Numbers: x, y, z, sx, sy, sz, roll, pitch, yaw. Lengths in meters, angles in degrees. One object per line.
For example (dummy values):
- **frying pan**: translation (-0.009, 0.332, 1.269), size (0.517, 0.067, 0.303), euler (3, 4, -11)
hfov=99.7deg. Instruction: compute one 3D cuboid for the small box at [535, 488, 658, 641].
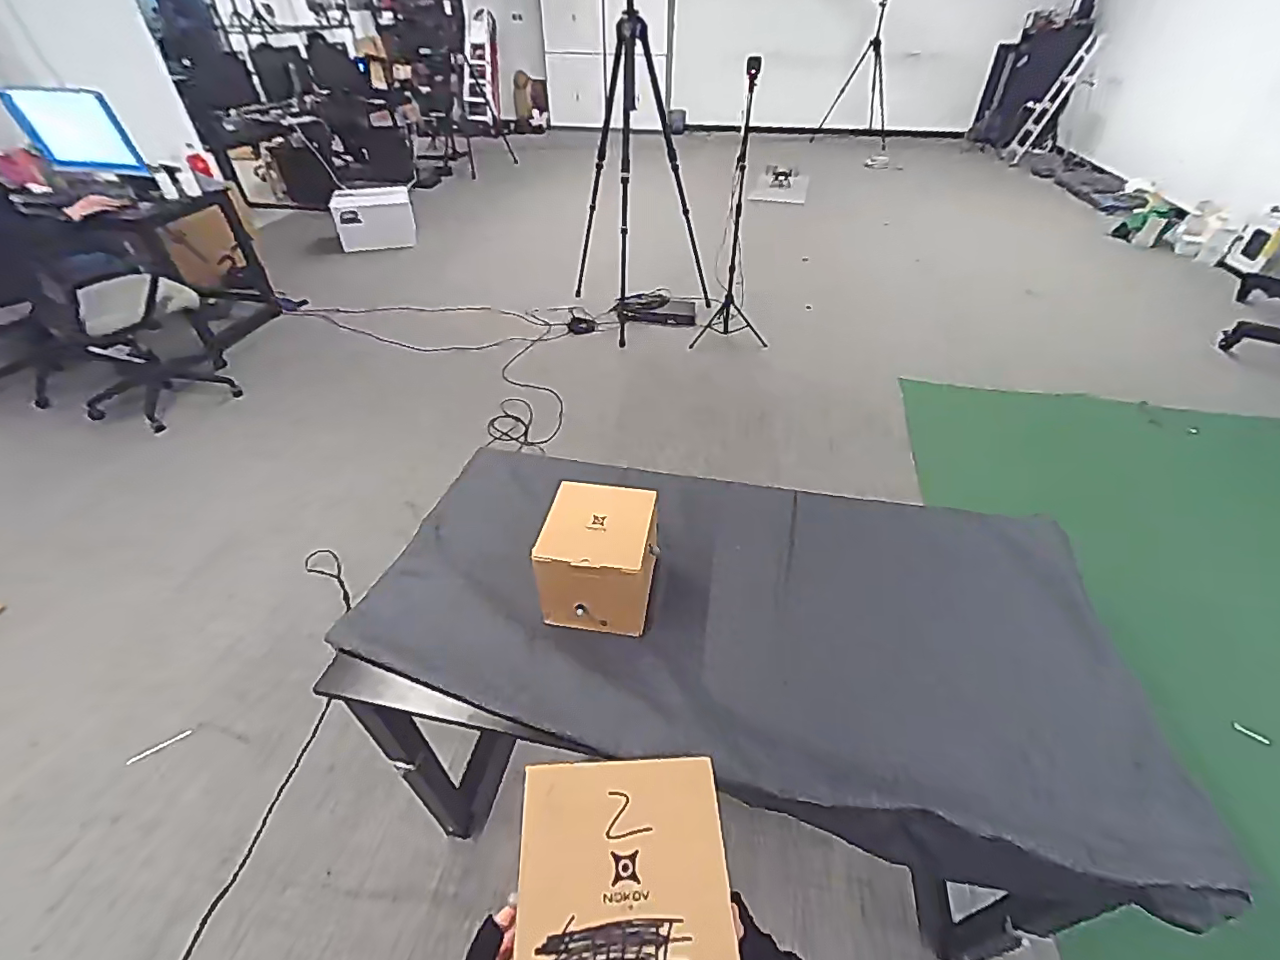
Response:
- **small box**: translation (-0.066, 0.140, 0.910), size (0.168, 0.176, 0.179), euler (7, 42, 7)
